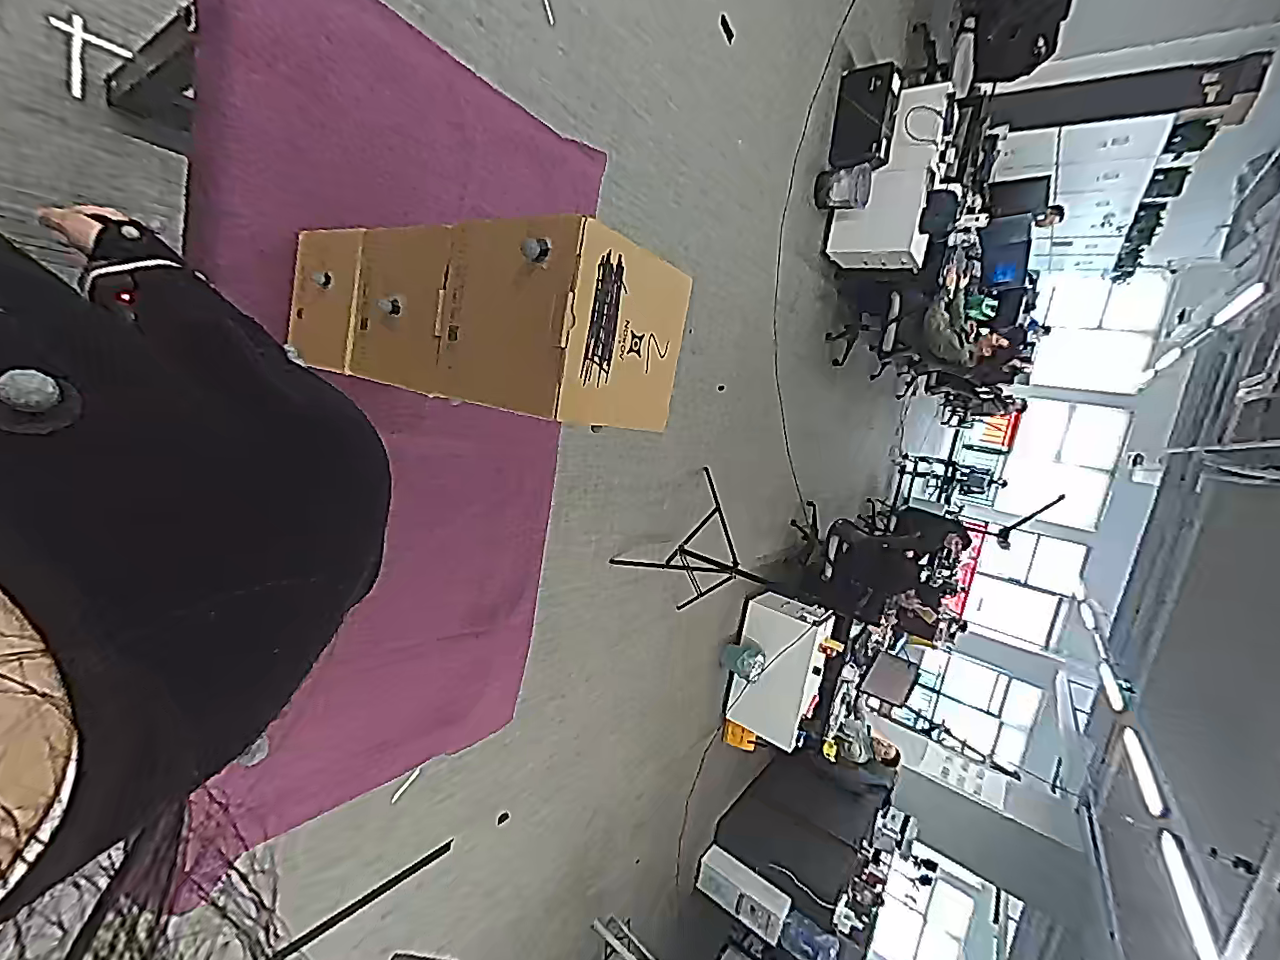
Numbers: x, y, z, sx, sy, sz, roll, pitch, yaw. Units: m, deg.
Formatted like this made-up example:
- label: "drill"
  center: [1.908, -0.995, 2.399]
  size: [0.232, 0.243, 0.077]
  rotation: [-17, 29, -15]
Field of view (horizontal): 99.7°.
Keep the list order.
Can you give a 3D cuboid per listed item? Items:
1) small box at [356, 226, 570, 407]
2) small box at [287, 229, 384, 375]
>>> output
- label: "small box"
  center: [-0.213, -0.187, 0.648]
  size: [0.179, 0.176, 0.168]
  rotation: [-4, 107, -55]
- label: "small box"
  center: [-0.348, -0.222, 0.735]
  size: [0.179, 0.176, 0.168]
  rotation: [0, 103, -56]
